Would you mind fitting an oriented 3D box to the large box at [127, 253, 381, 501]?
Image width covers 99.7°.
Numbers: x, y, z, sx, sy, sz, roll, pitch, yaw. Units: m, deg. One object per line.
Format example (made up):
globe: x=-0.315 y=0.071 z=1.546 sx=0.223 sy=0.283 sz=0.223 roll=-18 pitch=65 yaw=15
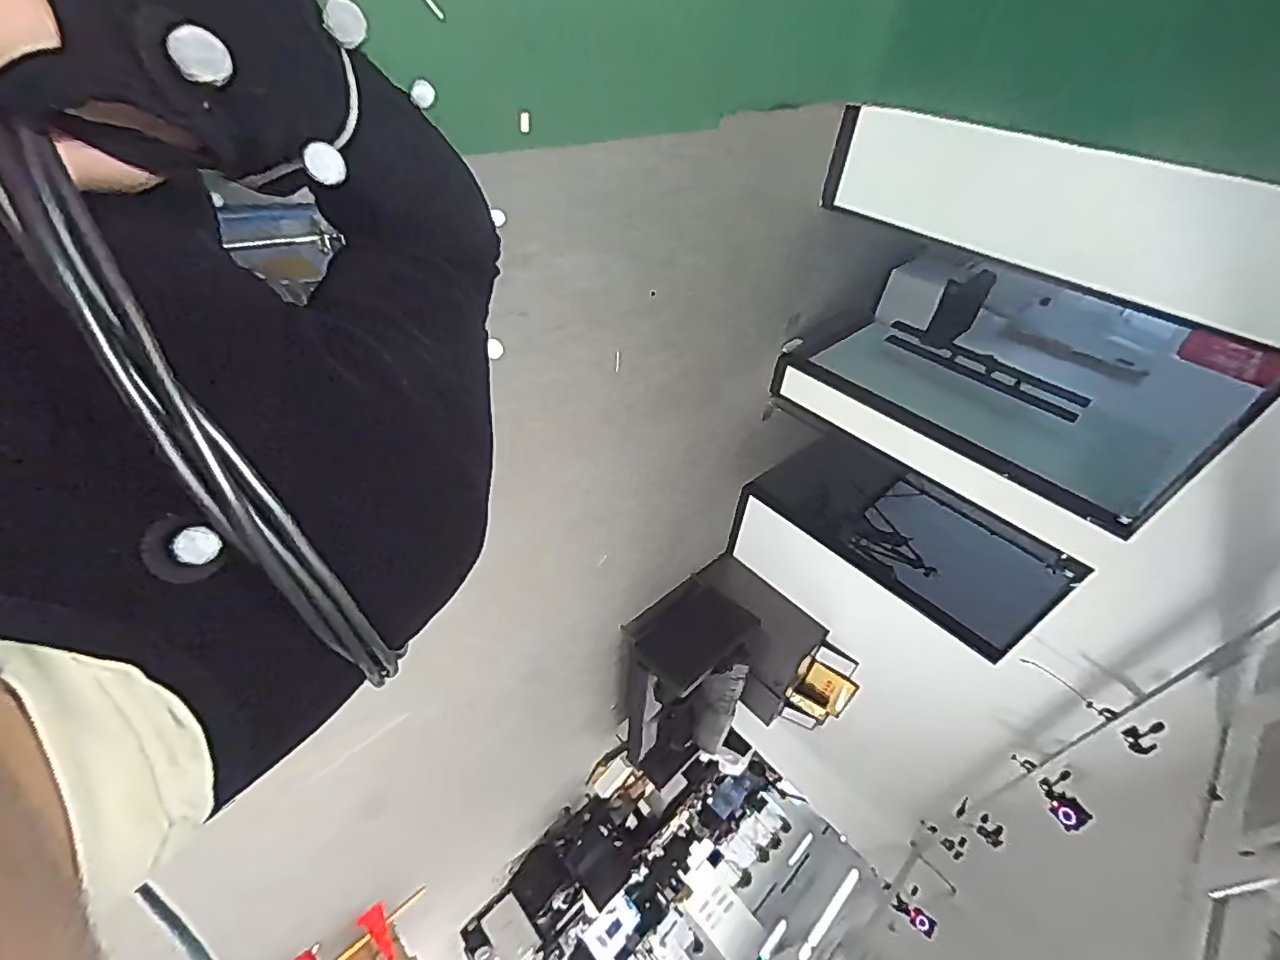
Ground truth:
large box: x=-0.825 y=-0.237 z=1.199 sx=0.320 sy=0.320 sz=0.408 roll=-26 pitch=143 yaw=-37
